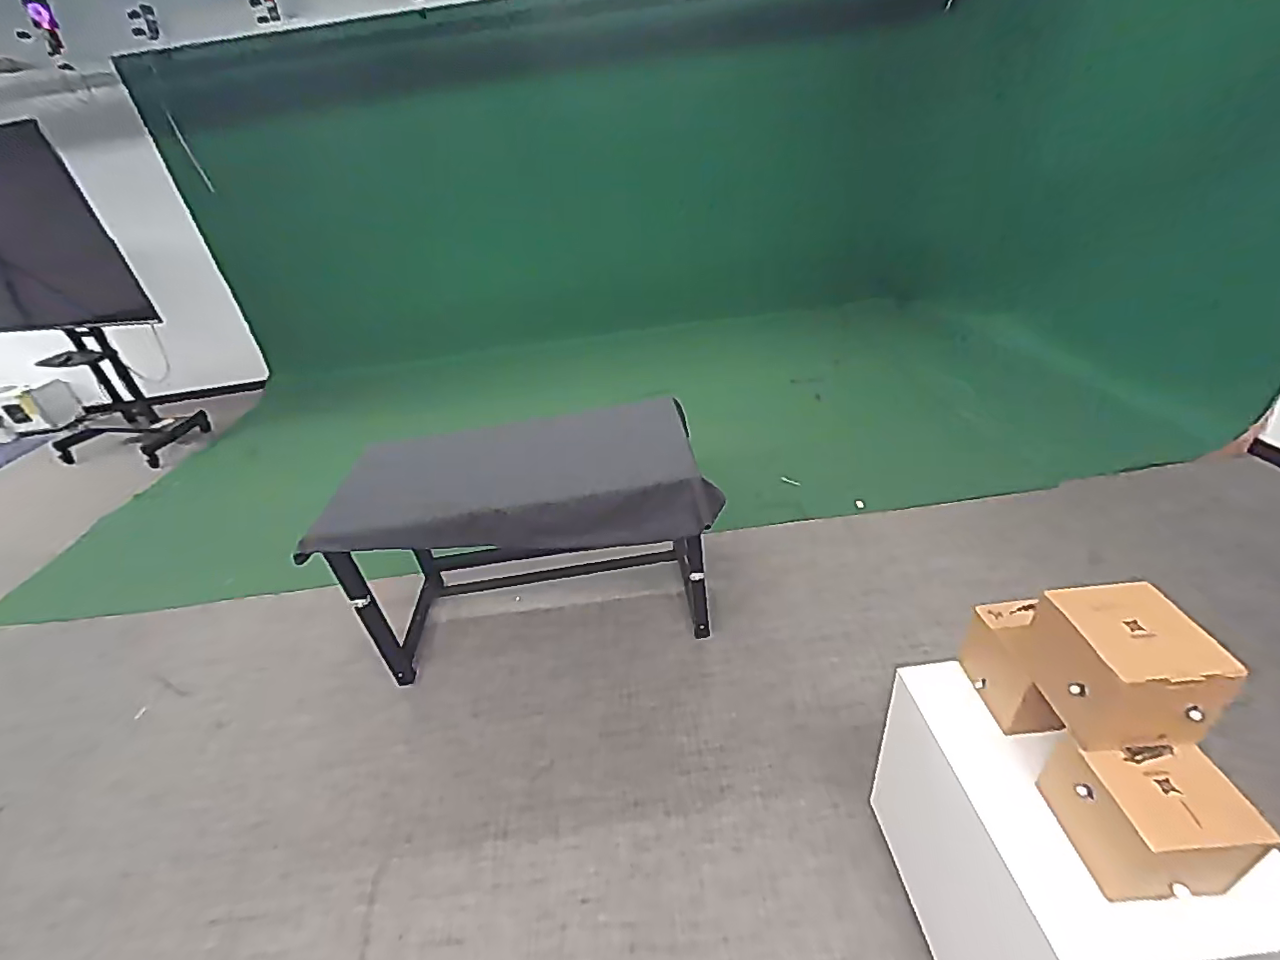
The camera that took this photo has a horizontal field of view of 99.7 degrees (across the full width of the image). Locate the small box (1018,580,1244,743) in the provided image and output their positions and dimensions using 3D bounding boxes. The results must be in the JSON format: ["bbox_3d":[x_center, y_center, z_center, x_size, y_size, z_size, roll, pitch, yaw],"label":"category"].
[{"bbox_3d":[0.730,0.282,0.832,0.168,0.176,0.179,-6,32,2],"label":"small box"}]

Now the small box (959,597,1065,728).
[{"bbox_3d":[0.744,0.348,1.026,0.168,0.176,0.179,-7,35,1],"label":"small box"}]

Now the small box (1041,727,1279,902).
[{"bbox_3d":[0.748,0.489,0.807,0.168,0.176,0.179,-7,33,3],"label":"small box"}]
